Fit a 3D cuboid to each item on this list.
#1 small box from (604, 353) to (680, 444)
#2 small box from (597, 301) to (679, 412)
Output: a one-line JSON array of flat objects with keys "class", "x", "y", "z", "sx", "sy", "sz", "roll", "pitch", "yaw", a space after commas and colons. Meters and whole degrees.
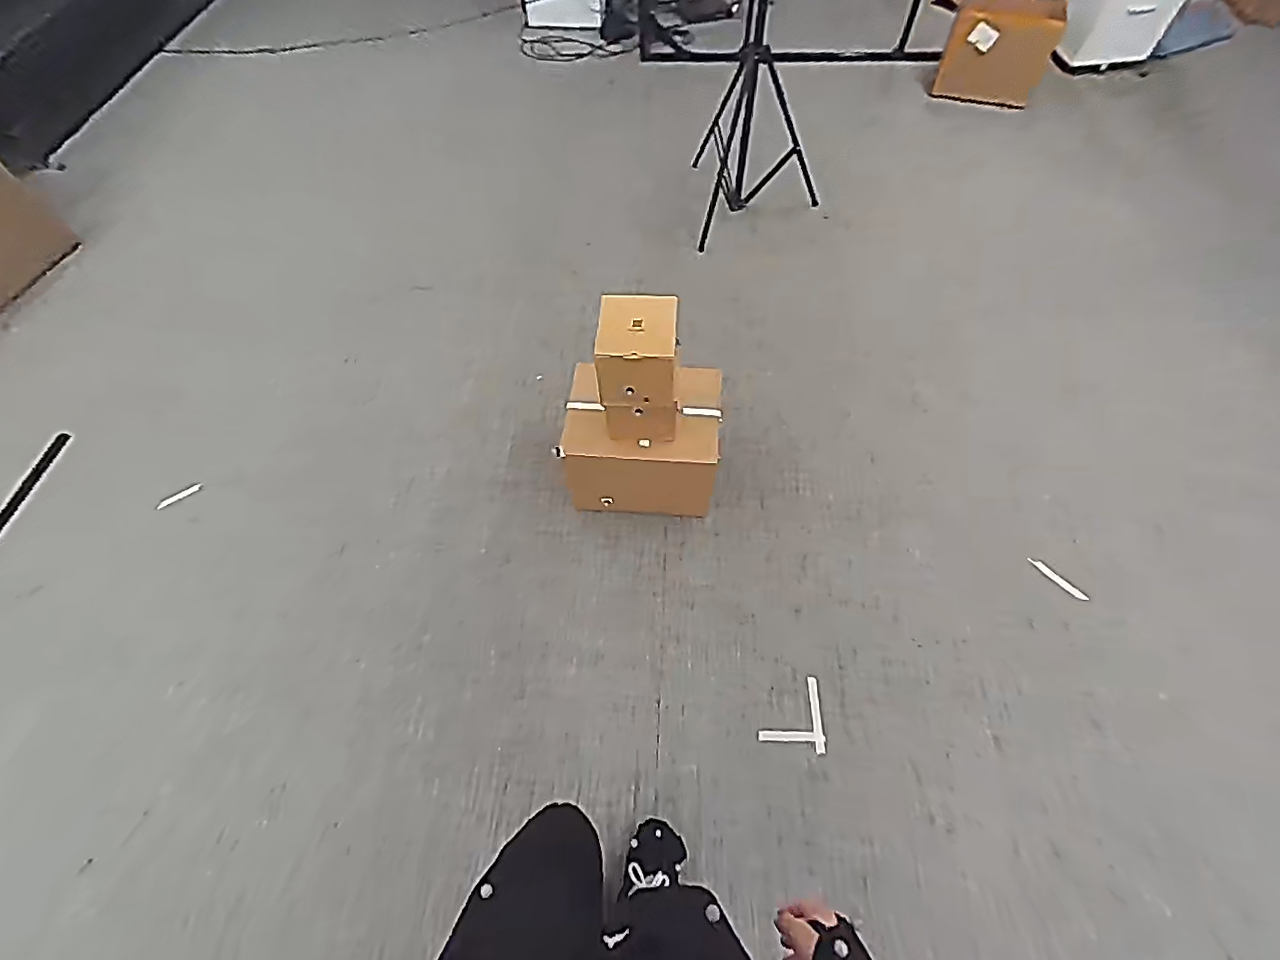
[{"class": "small box", "x": 0.010, "y": -0.201, "z": 1.353, "sx": 0.179, "sy": 0.176, "sz": 0.168, "roll": 2, "pitch": 61, "yaw": 2}, {"class": "small box", "x": -0.001, "y": -0.275, "z": 1.209, "sx": 0.168, "sy": 0.176, "sz": 0.179, "roll": 2, "pitch": 62, "yaw": 4}]
